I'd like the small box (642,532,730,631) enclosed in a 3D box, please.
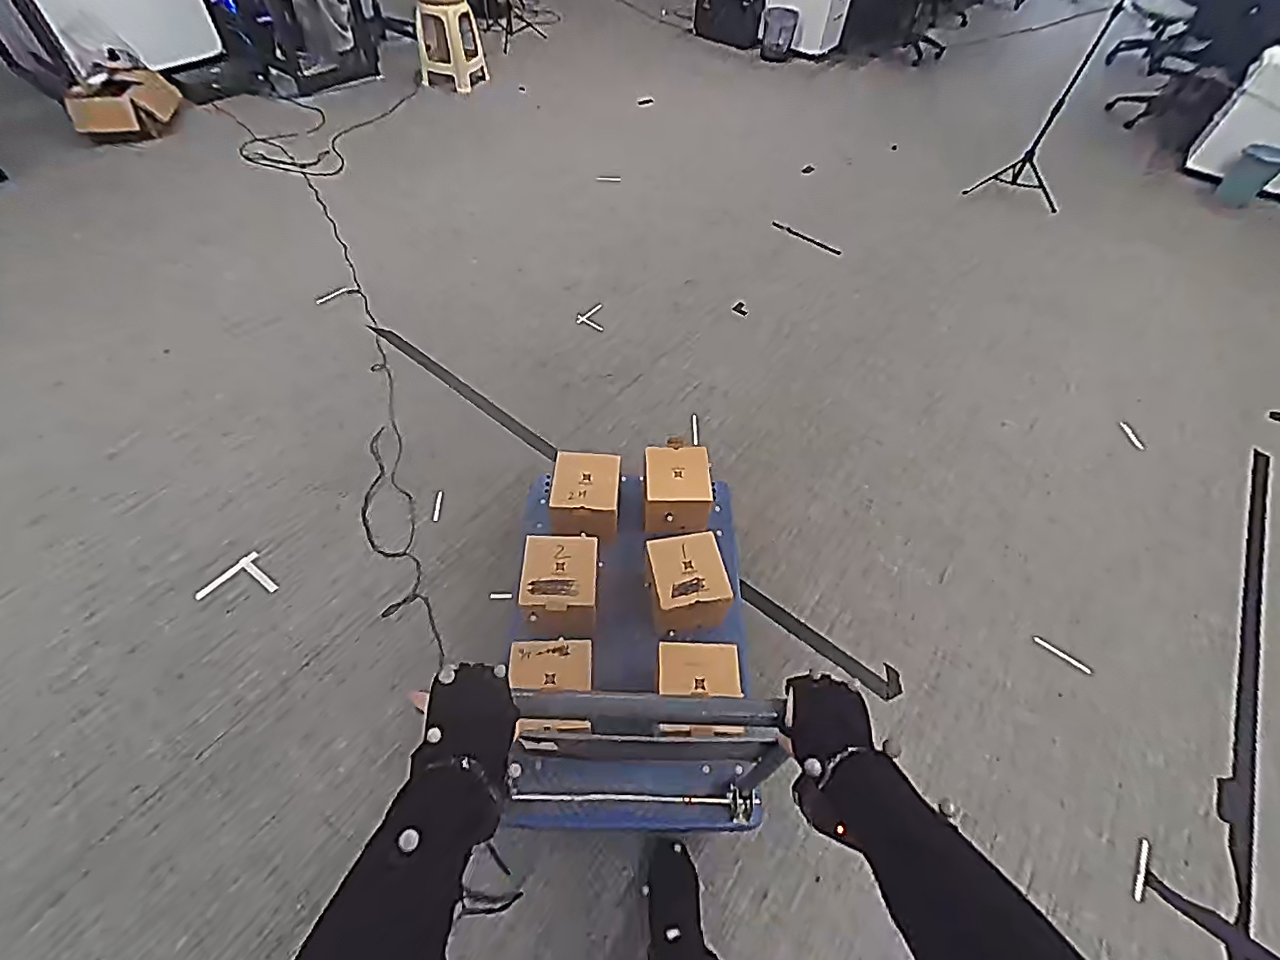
[{"bbox_3d":[0.103,0.250,1.298,0.168,0.176,0.179,-7,54,-9],"label":"small box"}]

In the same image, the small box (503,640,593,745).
[{"bbox_3d":[-0.184,0.448,1.131,0.168,0.176,0.179,0,54,-5],"label":"small box"}]

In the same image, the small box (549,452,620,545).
[{"bbox_3d":[-0.143,0.050,1.428,0.168,0.176,0.179,4,54,-1],"label":"small box"}]

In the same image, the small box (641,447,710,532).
[{"bbox_3d":[0.089,0.030,1.460,0.168,0.176,0.179,0,54,-4],"label":"small box"}]

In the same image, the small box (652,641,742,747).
[{"bbox_3d":[0.114,0.458,1.147,0.168,0.176,0.179,3,53,-2],"label":"small box"}]
